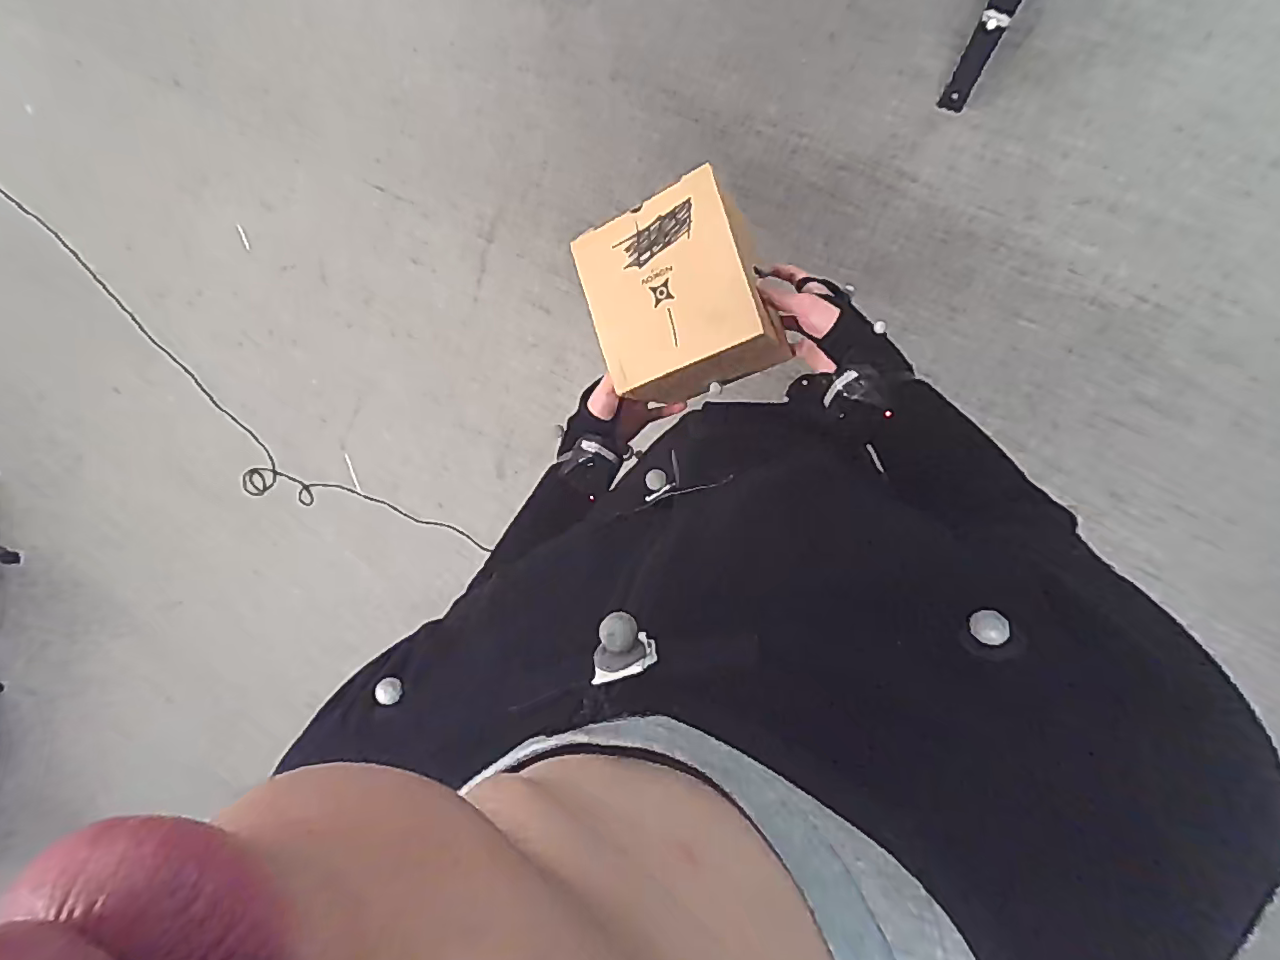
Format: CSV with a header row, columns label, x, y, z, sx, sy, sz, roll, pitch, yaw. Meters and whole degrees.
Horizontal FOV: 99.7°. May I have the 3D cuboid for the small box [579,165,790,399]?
label,x,y,z,sx,sy,sz,roll,pitch,yaw
small box,0.059,-0.203,0.615,0.168,0.176,0.179,-18,86,24
